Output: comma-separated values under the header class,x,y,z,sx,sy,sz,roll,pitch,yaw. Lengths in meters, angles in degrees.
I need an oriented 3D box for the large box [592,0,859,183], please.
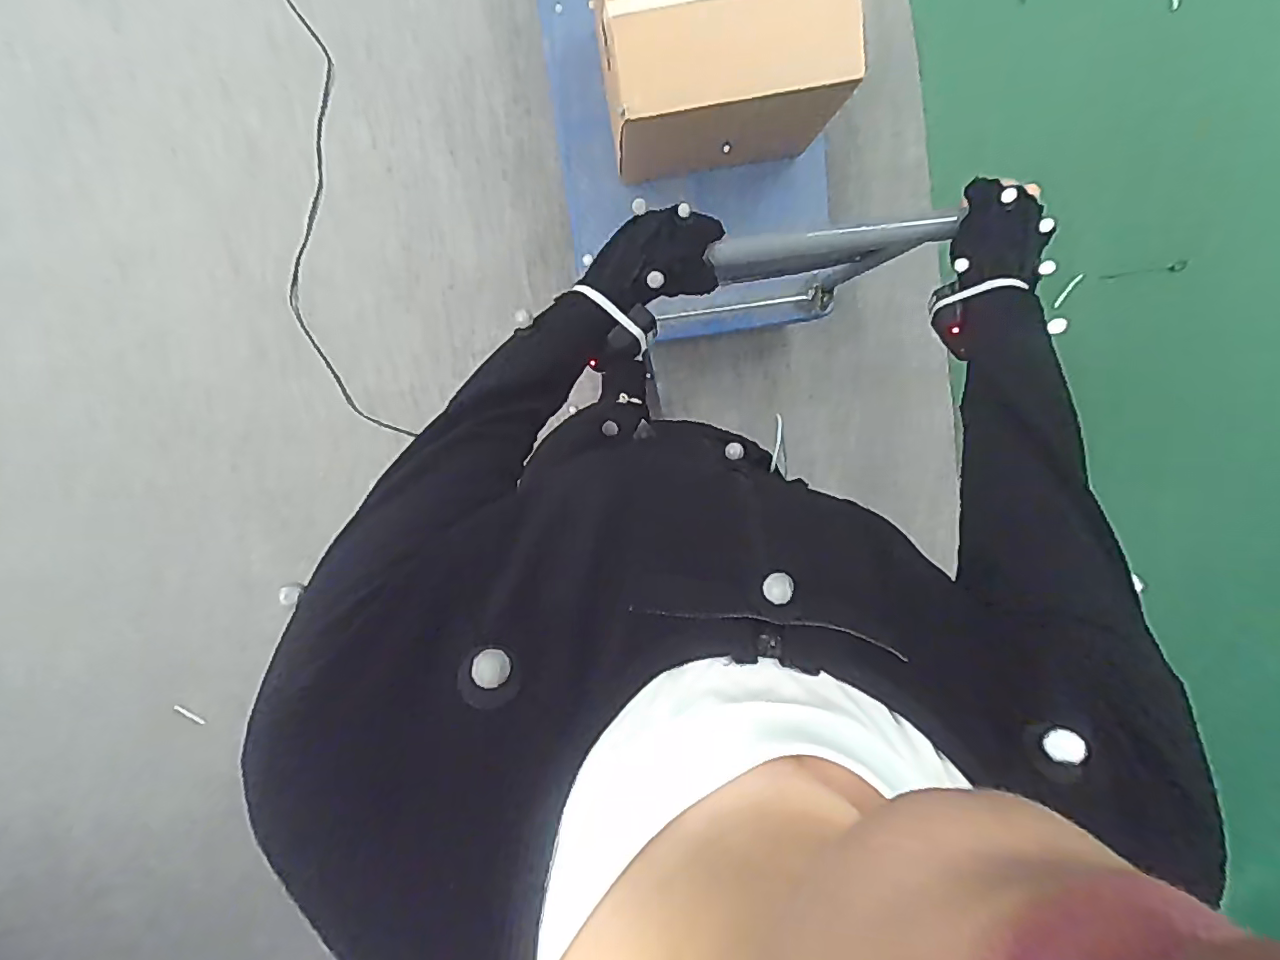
class,x,y,z,sx,sy,sz,roll,pitch,yaw
large box,0.135,-0.798,1.005,0.408,0.320,0.320,-11,101,0
